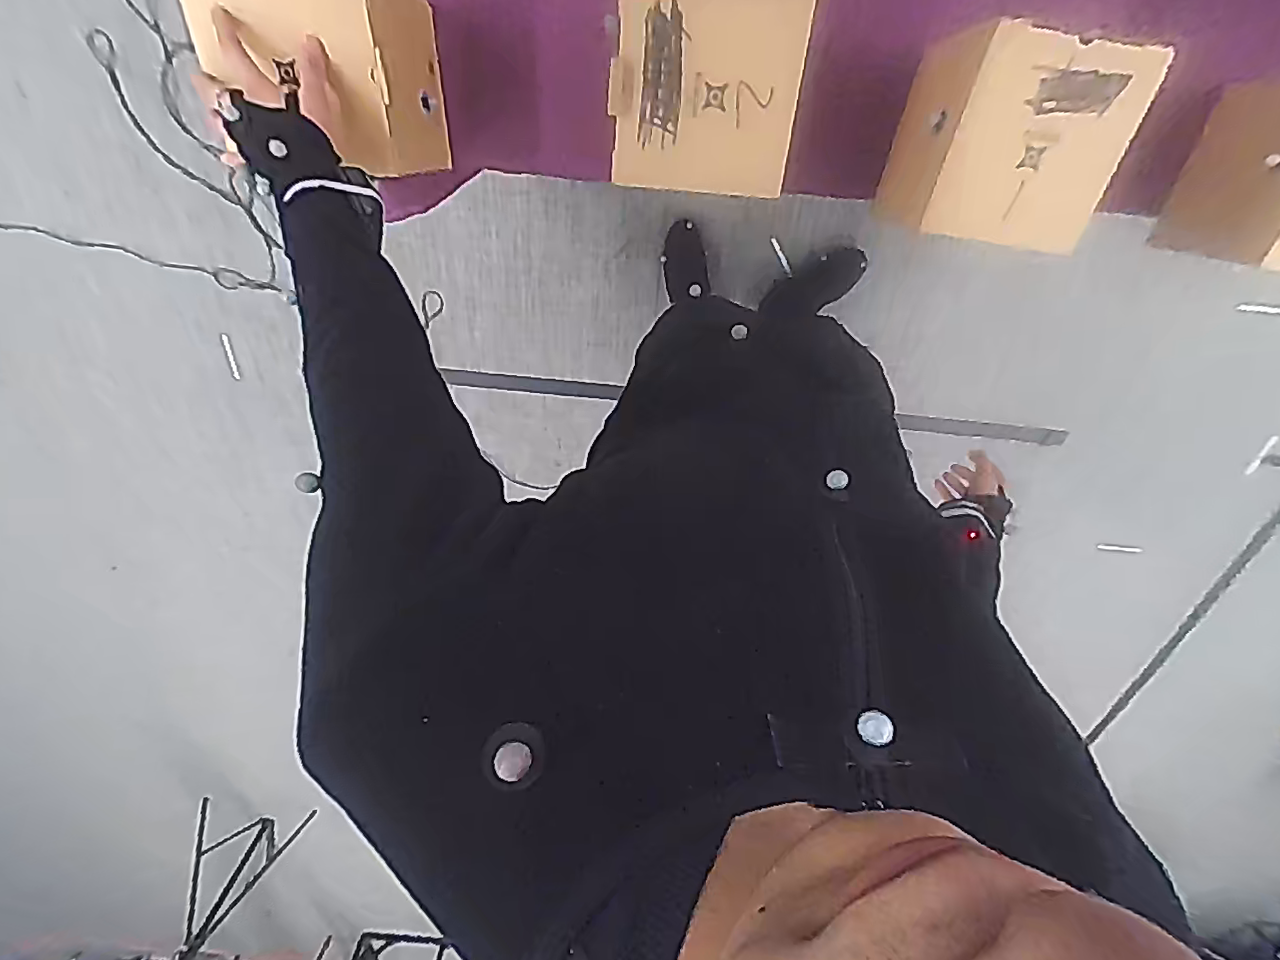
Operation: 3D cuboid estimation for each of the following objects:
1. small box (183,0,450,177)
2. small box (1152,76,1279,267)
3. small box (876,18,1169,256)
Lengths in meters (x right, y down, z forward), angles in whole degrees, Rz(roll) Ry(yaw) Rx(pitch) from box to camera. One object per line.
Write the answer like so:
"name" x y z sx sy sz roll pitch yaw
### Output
"small box" -0.329 -0.427 0.587 0.179 0.176 0.168 1 121 0
"small box" 0.732 -0.330 0.587 0.168 0.176 0.179 6 121 1
"small box" 0.384 -0.362 0.589 0.168 0.176 0.179 9 122 -2
